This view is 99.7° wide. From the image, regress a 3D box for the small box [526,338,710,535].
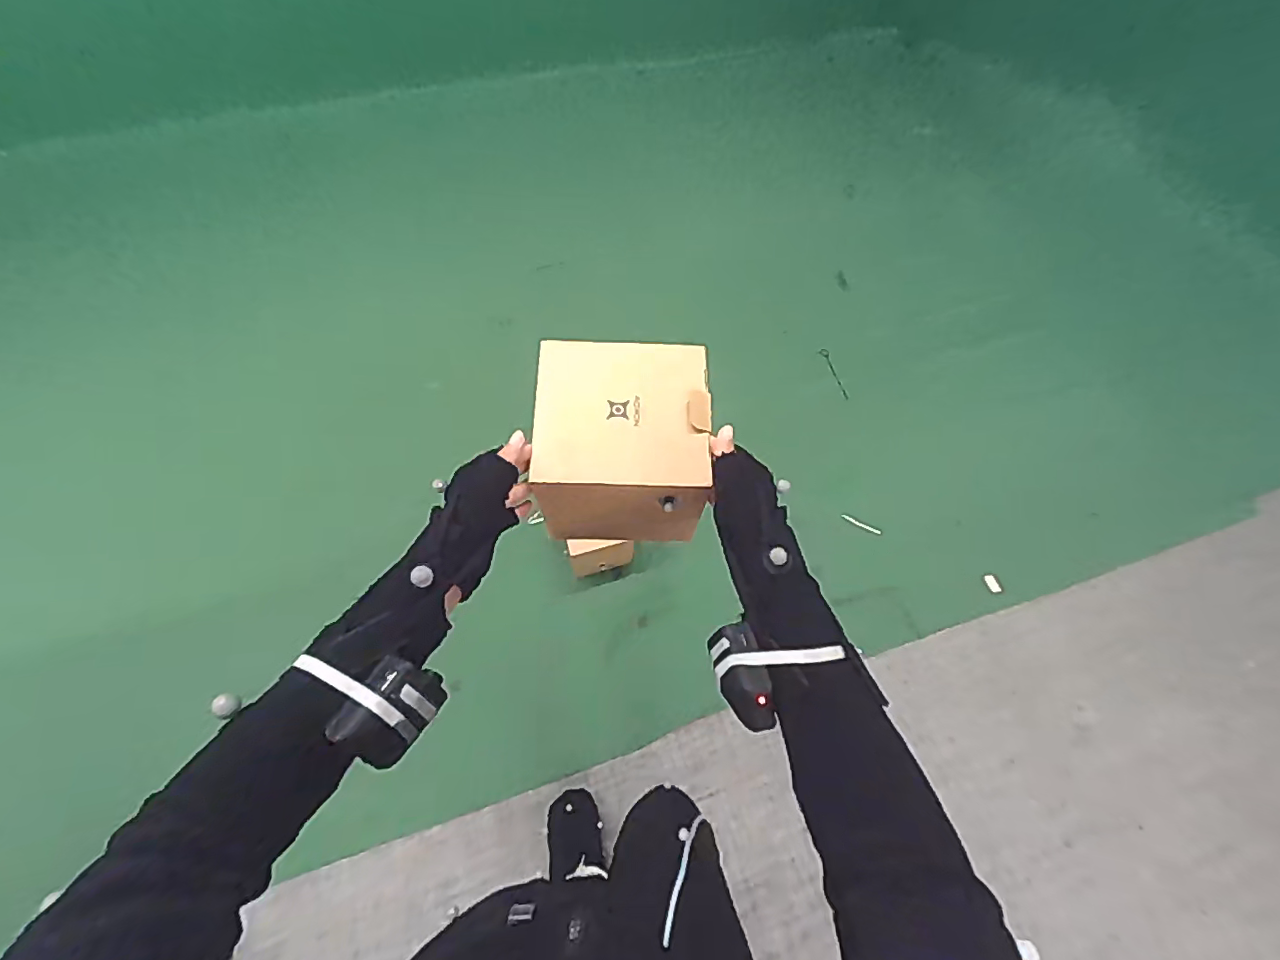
[{"bbox_3d":[-0.024,-0.041,0.612,0.179,0.176,0.168,1,65,-3],"label":"small box"}]
